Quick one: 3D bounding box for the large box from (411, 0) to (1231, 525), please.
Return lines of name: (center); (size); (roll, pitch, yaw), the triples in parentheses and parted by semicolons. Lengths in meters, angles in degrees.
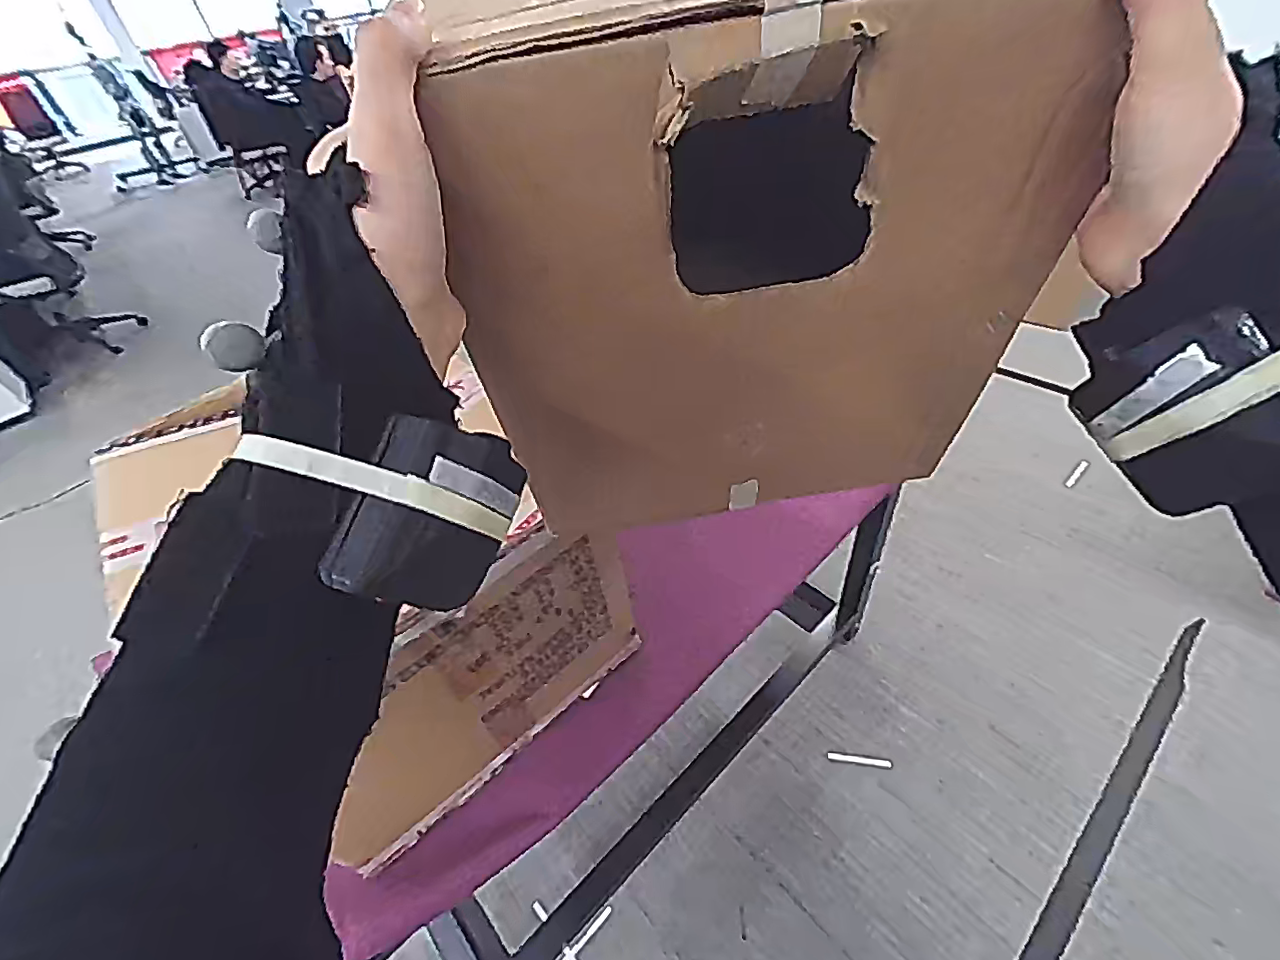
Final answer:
large box: (0.053, -0.229, 0.425); (0.320, 0.320, 0.408); (-10, 54, 1)
